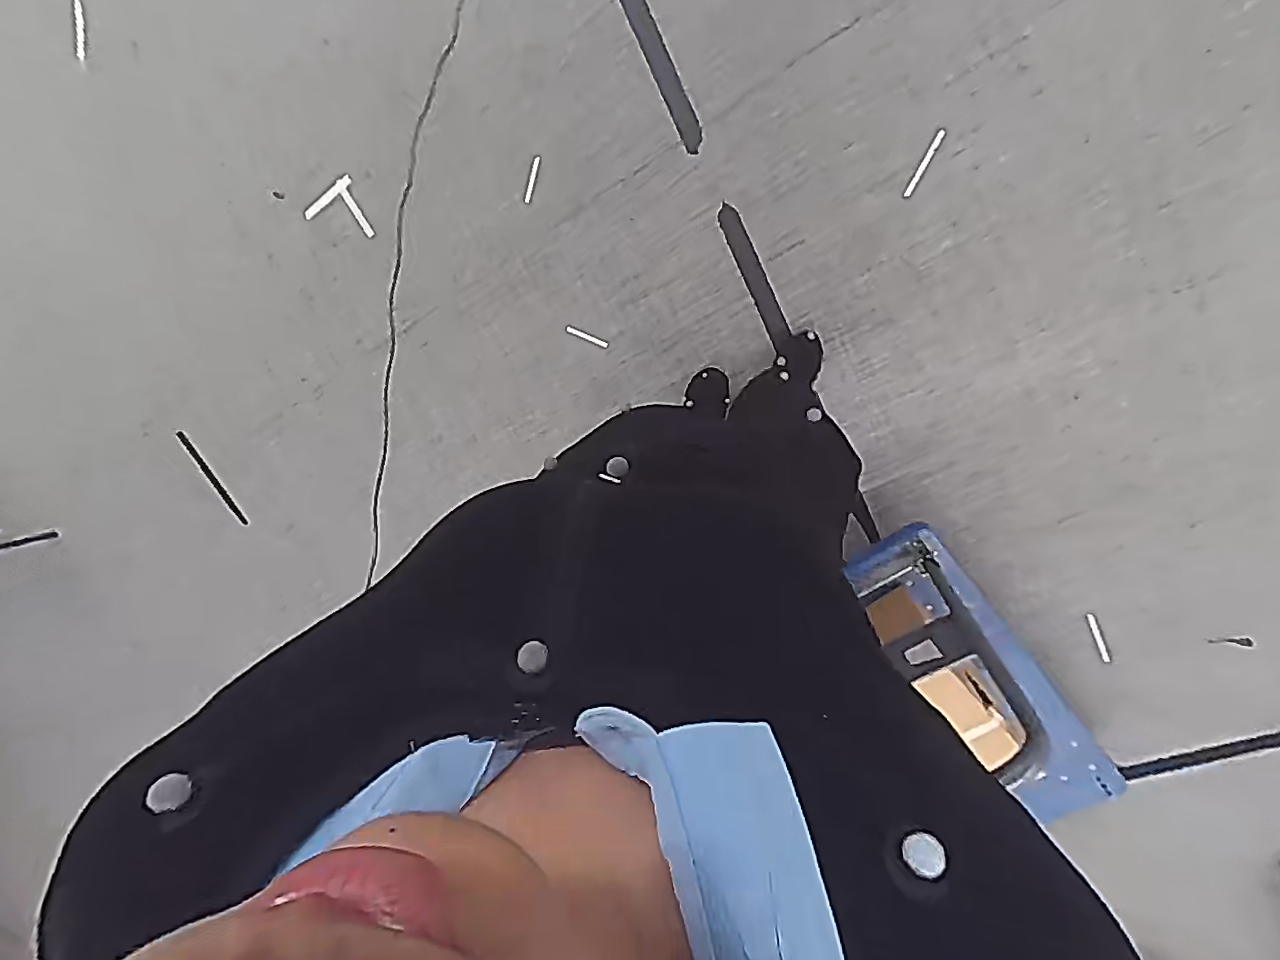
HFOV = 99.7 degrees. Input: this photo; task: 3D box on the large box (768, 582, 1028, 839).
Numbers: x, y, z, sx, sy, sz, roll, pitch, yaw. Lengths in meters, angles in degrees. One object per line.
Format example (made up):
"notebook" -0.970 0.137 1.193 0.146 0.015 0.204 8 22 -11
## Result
"large box" 0.549 0.515 1.244 0.408 0.320 0.320 -42 95 21
